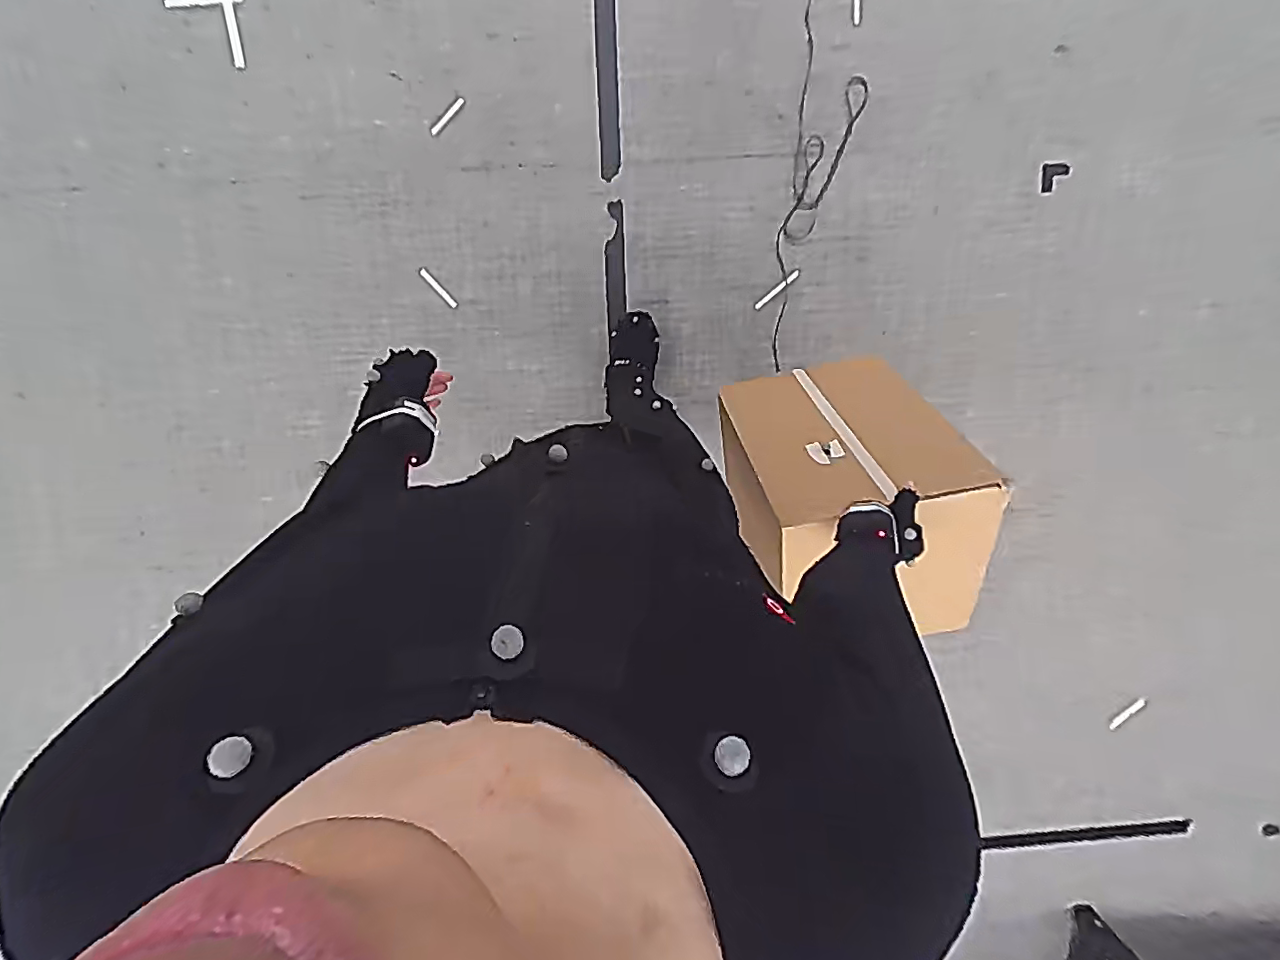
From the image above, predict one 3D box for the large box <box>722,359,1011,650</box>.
[{"bbox_3d":[0.353,0.030,0.978,0.320,0.408,0.320,-12,128,1],"label":"large box"}]
